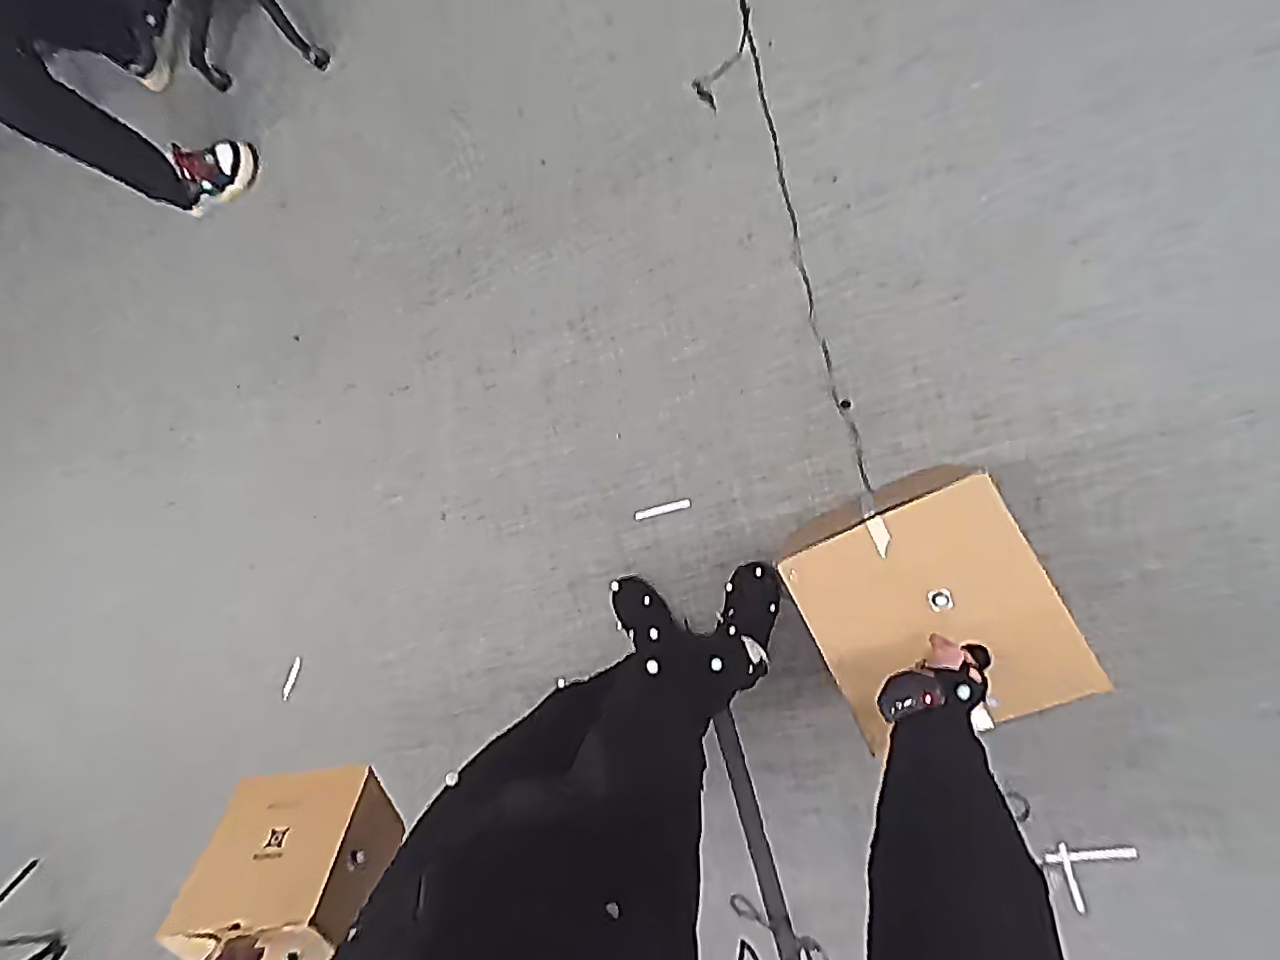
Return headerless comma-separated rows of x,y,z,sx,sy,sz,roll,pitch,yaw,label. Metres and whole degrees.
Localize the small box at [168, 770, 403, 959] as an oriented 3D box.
-0.427,0.508,0.693,0.168,0.179,0.176,-4,122,-1,small box
